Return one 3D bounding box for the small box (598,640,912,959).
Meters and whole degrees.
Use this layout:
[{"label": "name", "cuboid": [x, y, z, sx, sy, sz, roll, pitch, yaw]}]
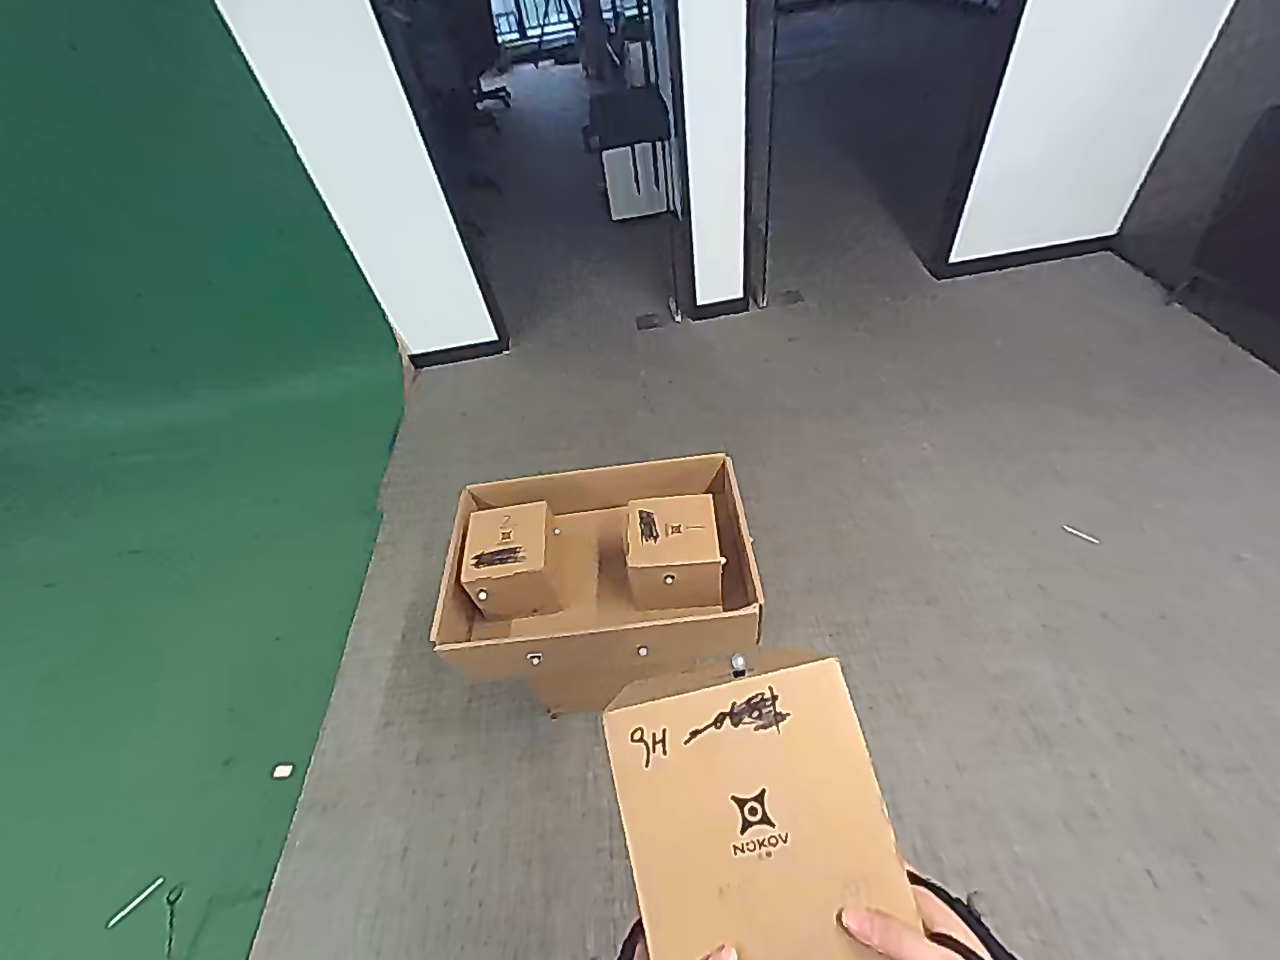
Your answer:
[{"label": "small box", "cuboid": [0.075, 0.233, 0.423, 0.168, 0.176, 0.179, -14, 75, 2]}]
